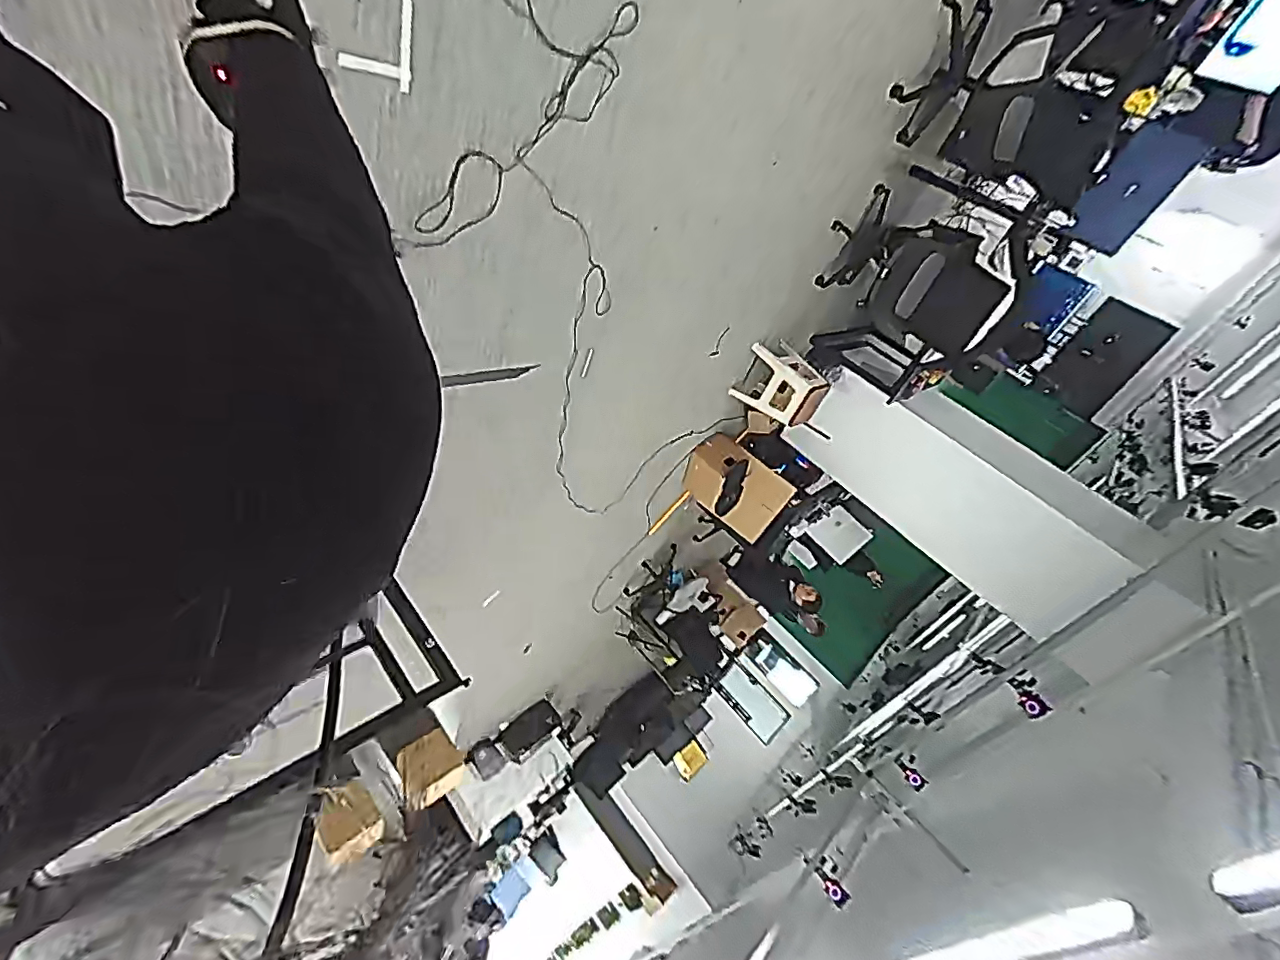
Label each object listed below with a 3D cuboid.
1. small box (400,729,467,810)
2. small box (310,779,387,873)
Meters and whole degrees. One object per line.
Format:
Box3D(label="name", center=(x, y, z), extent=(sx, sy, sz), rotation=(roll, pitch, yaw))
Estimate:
Box3D(label="small box", center=(-0.745, 1.030, 1.937), extent=(0.168, 0.176, 0.179), rotation=(-22, 147, -41))
Box3D(label="small box", center=(-0.935, 1.102, 1.734), extent=(0.168, 0.176, 0.179), rotation=(-23, 146, -43))
